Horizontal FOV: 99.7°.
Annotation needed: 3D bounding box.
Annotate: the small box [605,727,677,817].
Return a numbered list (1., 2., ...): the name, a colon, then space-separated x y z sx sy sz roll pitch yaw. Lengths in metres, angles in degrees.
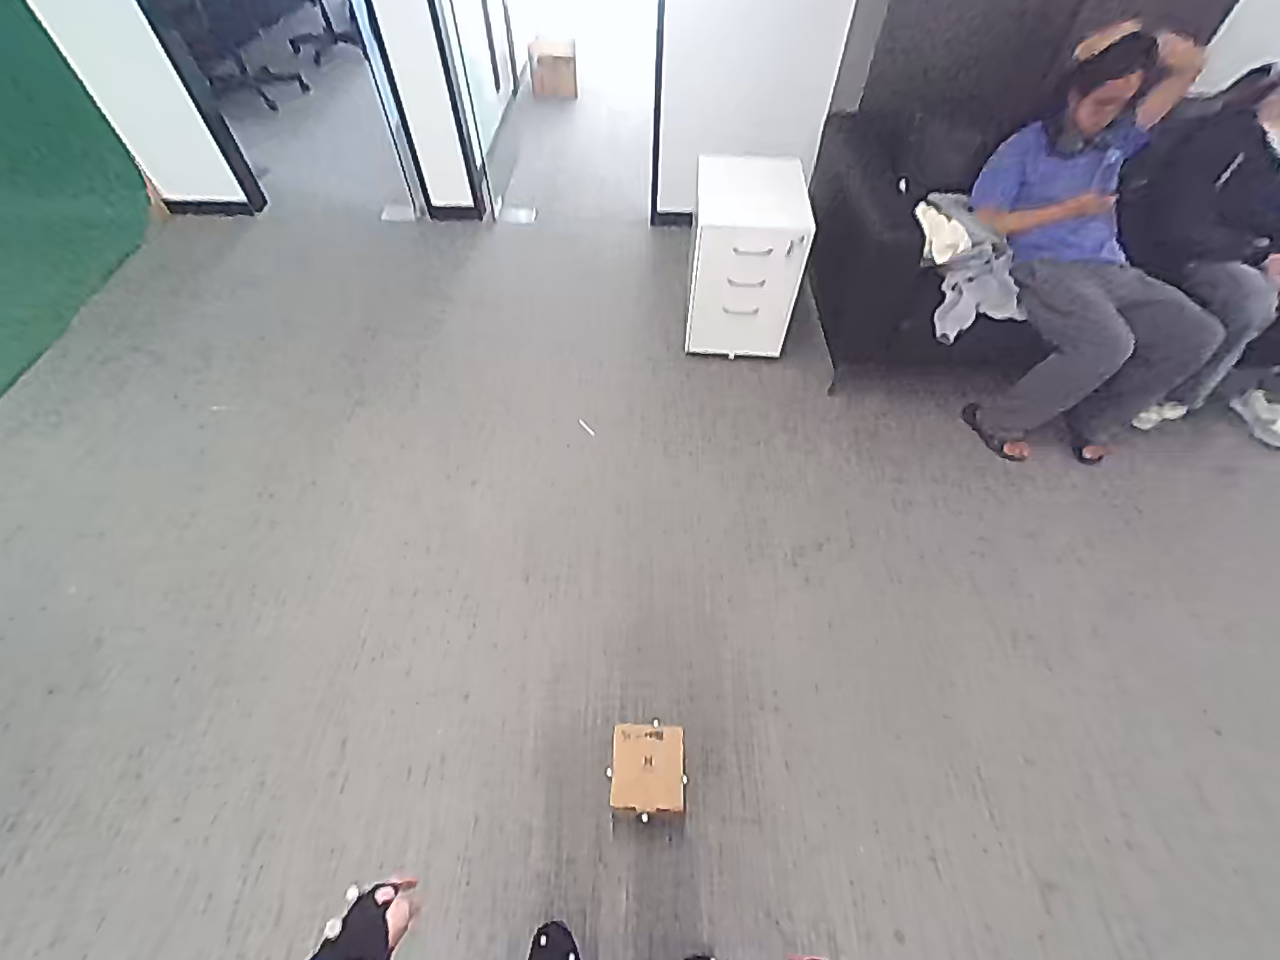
1. small box: 0.002 0.718 1.323 0.168 0.176 0.179 1 53 -2
